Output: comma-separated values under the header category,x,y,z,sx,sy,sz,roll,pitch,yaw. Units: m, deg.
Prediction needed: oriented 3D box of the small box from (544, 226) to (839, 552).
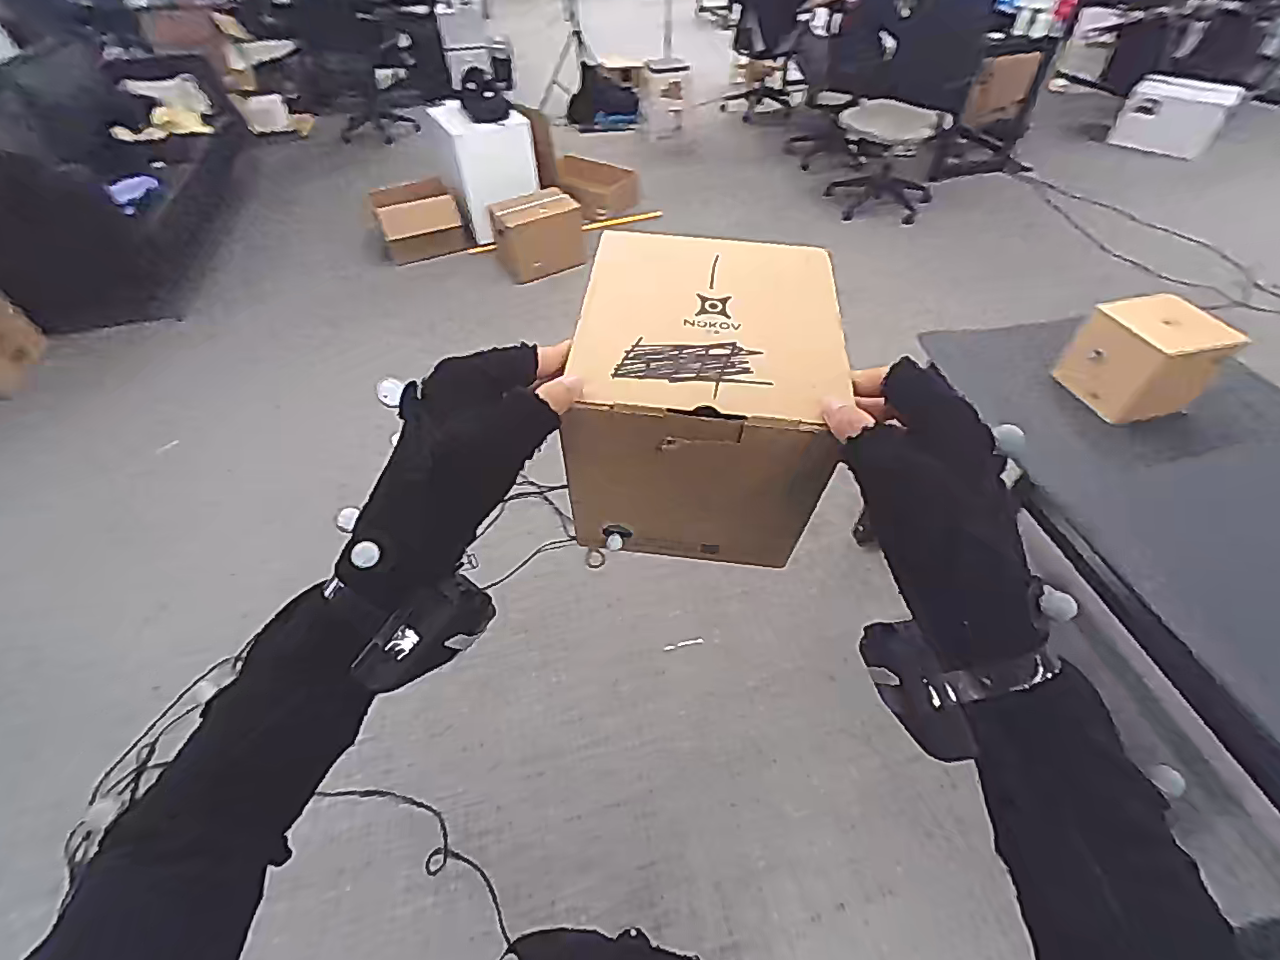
category,x,y,z,sx,sy,sz,roll,pitch,yaw
small box,0.035,-0.061,0.406,0.168,0.176,0.179,5,54,2

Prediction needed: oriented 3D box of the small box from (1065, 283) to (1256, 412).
category,x,y,z,sx,sy,sz,roll,pitch,yaw
small box,0.967,-0.249,1.034,0.179,0.176,0.168,-11,50,-8
